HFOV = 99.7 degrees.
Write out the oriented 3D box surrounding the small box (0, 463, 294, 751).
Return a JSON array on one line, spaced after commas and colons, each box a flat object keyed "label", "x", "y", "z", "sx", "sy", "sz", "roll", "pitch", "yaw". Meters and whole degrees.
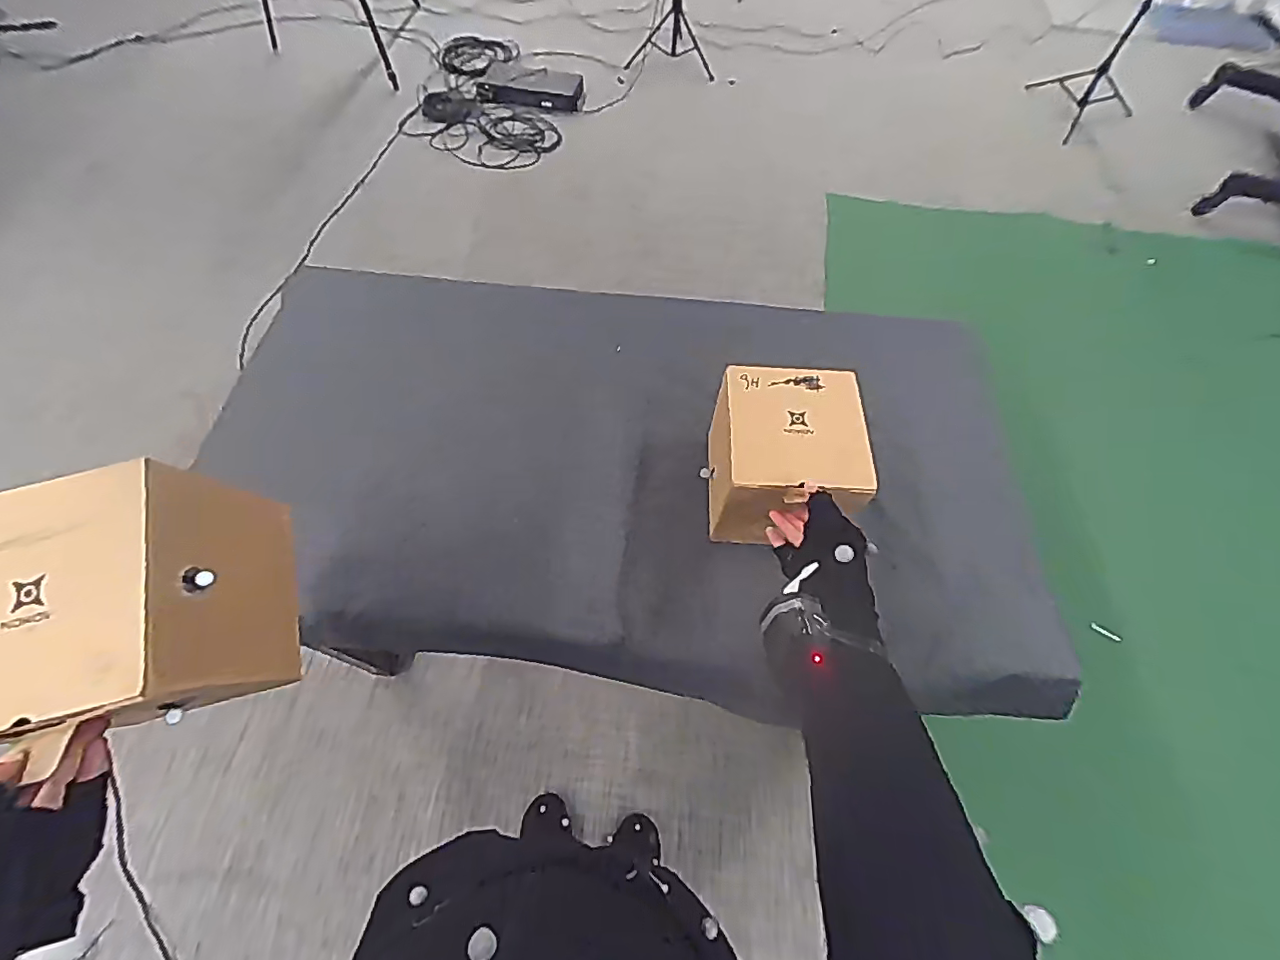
[{"label": "small box", "x": -0.418, "y": 0.108, "z": 0.446, "sx": 0.168, "sy": 0.176, "sz": 0.179, "roll": -15, "pitch": 73, "yaw": -3}]
